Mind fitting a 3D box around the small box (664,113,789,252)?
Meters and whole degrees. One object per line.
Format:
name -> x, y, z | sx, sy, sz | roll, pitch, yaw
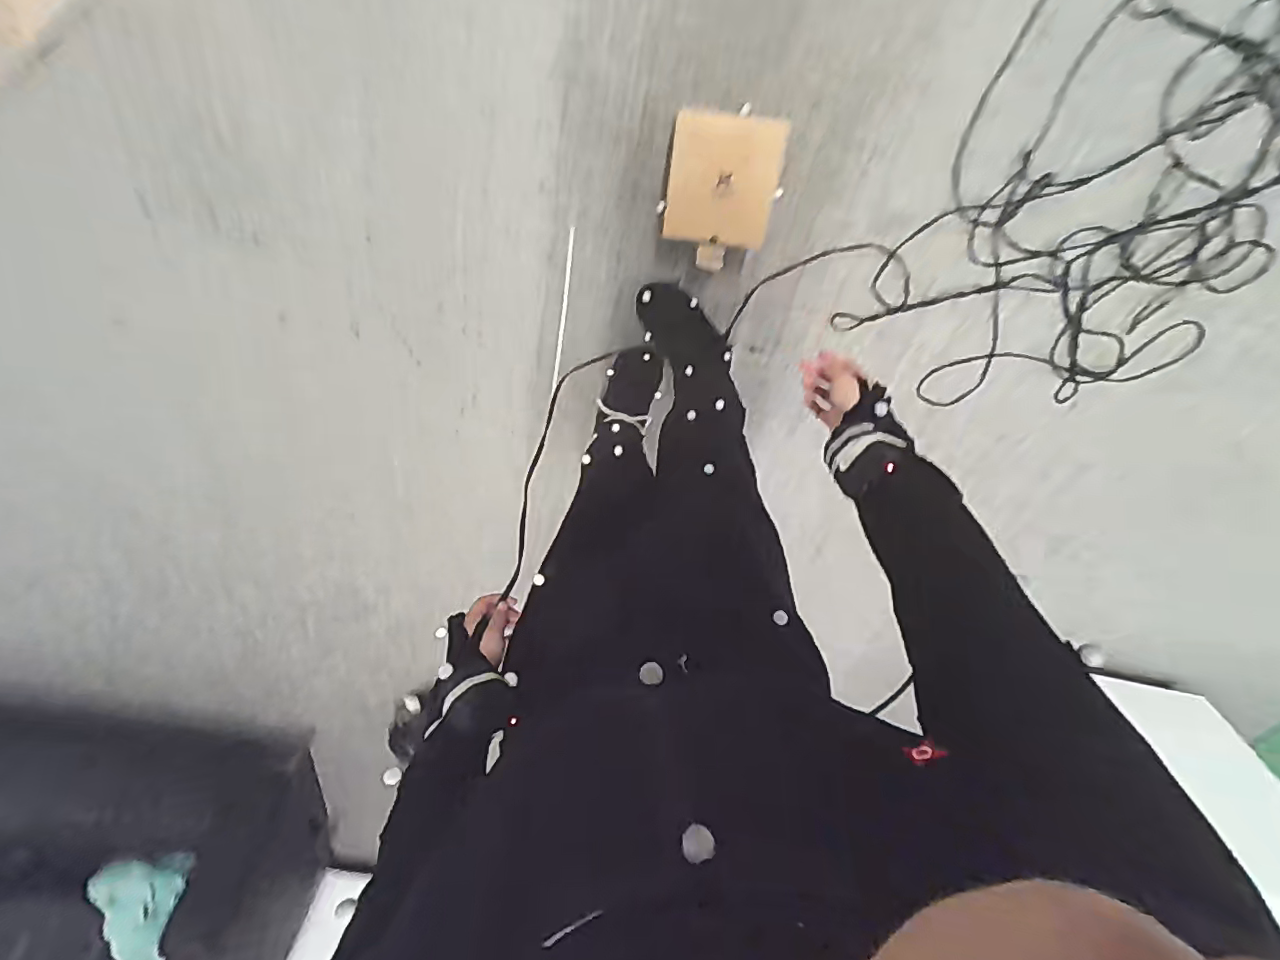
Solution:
small box -> 0.131, -0.496, 0.897 | 0.168, 0.176, 0.179 | 6, 125, -2
